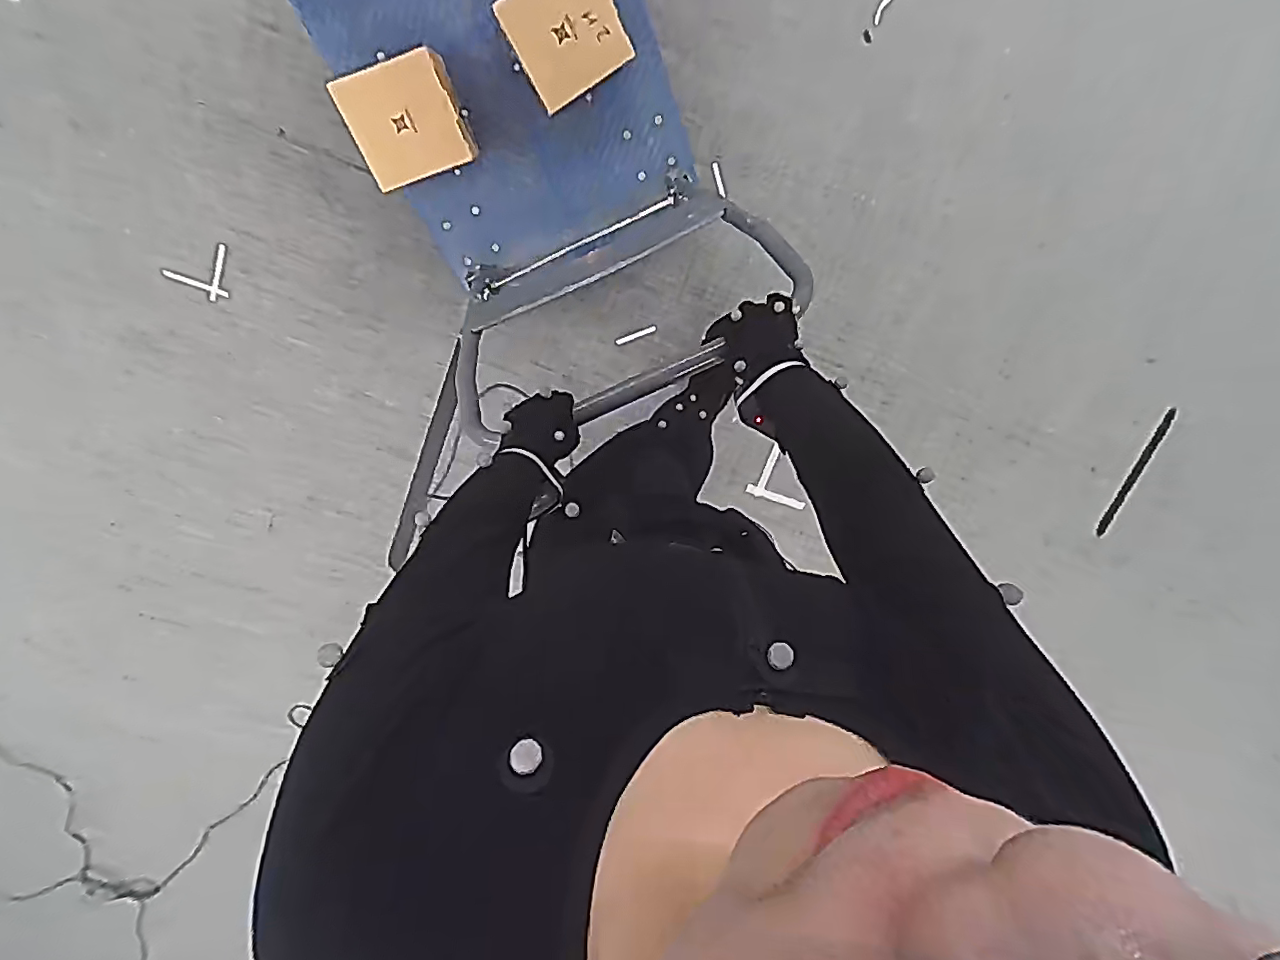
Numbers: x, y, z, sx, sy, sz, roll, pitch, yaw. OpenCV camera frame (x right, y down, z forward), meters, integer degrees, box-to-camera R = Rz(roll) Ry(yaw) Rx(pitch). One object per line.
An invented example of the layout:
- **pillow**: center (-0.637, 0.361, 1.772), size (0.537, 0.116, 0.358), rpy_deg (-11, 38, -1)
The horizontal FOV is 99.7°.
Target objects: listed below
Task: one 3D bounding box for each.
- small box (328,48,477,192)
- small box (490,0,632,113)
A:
- **small box**: center (-0.413, -0.640, 0.974), size (0.179, 0.176, 0.168), rpy_deg (-21, 124, 1)
- **small box**: center (-0.134, -0.770, 0.942), size (0.179, 0.176, 0.168), rpy_deg (-29, 124, 9)
